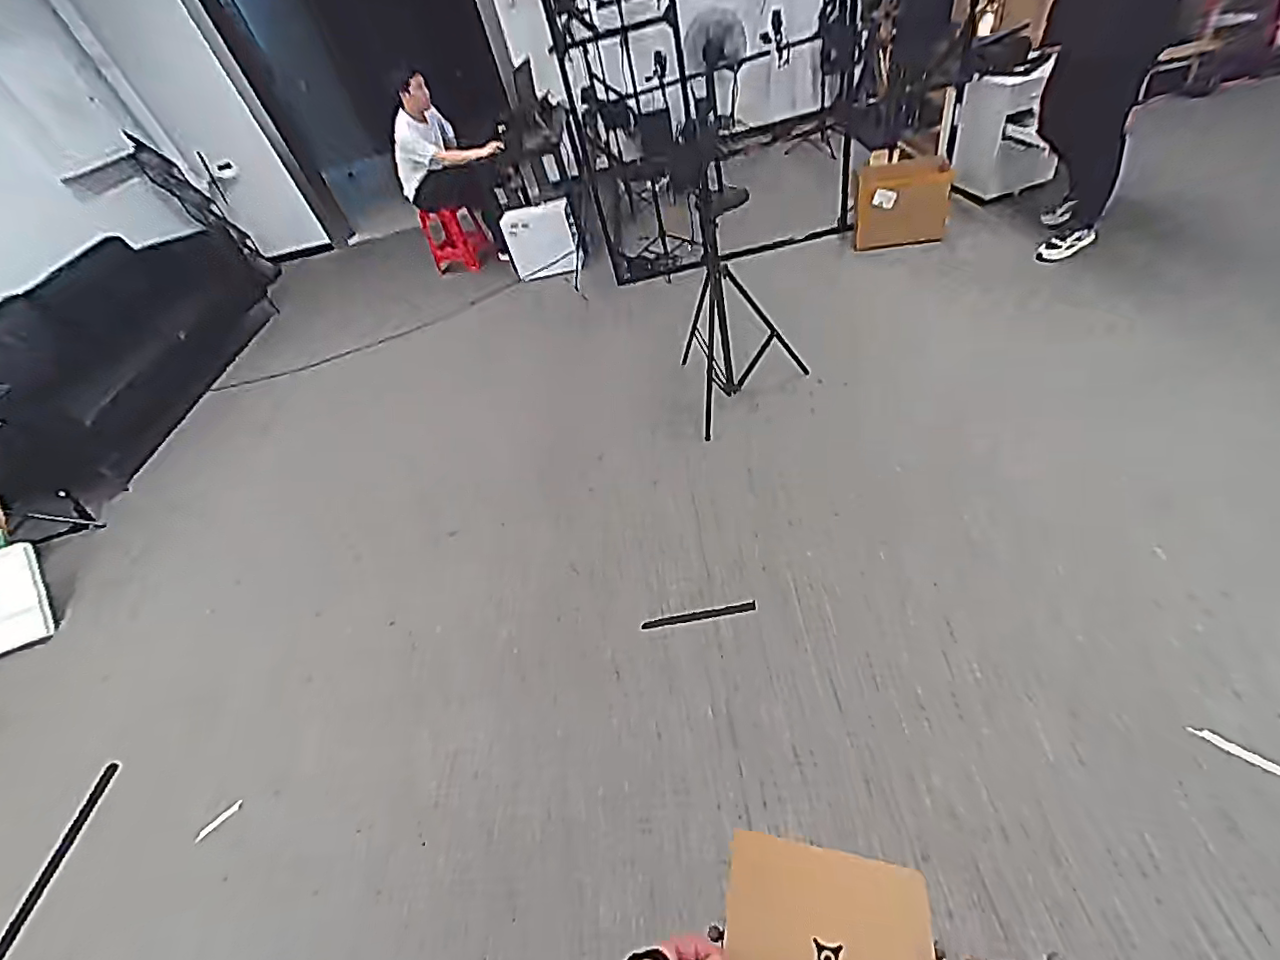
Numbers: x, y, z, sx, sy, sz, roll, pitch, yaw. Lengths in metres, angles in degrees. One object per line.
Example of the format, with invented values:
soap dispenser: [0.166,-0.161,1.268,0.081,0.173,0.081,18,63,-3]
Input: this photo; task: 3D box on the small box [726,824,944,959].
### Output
small box: [0.160,0.443,0.474,0.168,0.176,0.179,4,42,15]
